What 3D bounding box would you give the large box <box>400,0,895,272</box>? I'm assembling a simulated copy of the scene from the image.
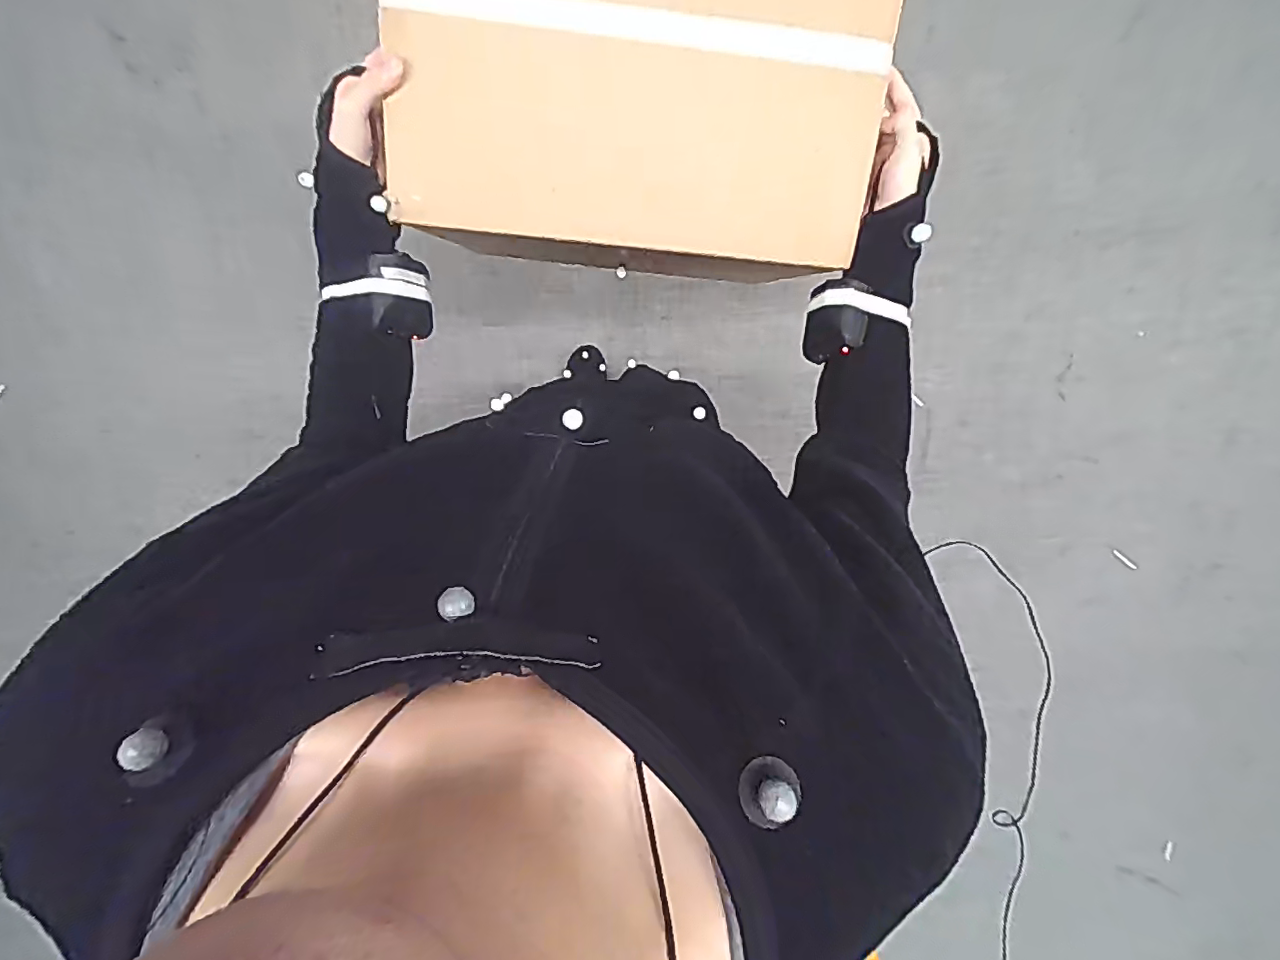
[{"bbox_3d":[0.001,-0.406,0.581,0.408,0.320,0.320,4,107,-4],"label":"large box"}]
